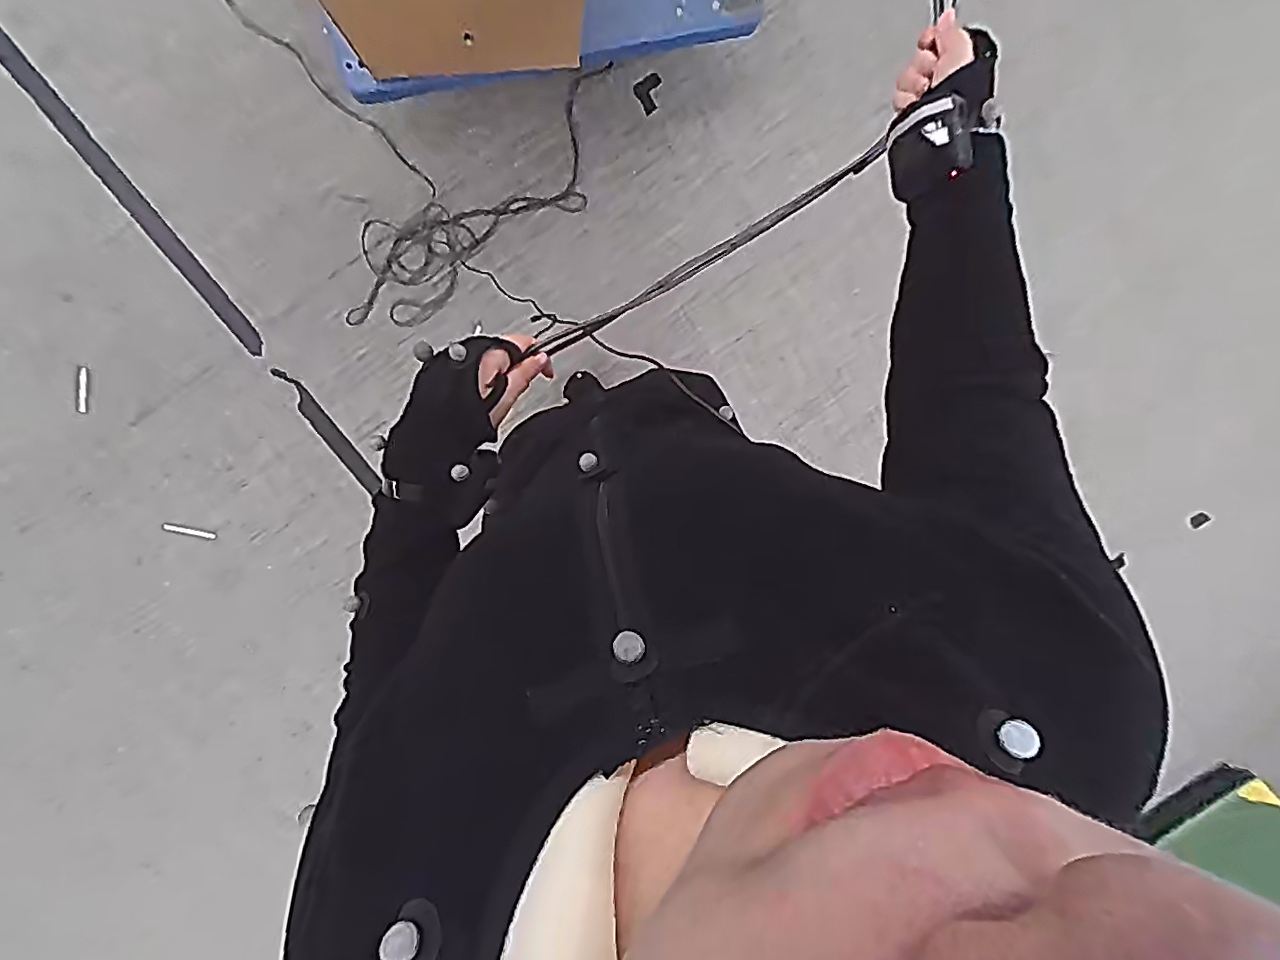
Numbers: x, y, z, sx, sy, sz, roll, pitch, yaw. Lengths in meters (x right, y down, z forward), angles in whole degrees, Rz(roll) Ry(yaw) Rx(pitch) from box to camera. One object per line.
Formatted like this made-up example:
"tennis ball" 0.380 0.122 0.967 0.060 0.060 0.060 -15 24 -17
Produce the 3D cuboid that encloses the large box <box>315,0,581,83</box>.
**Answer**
"large box" -0.320 -0.914 0.896 0.408 0.320 0.320 -9 104 -5
